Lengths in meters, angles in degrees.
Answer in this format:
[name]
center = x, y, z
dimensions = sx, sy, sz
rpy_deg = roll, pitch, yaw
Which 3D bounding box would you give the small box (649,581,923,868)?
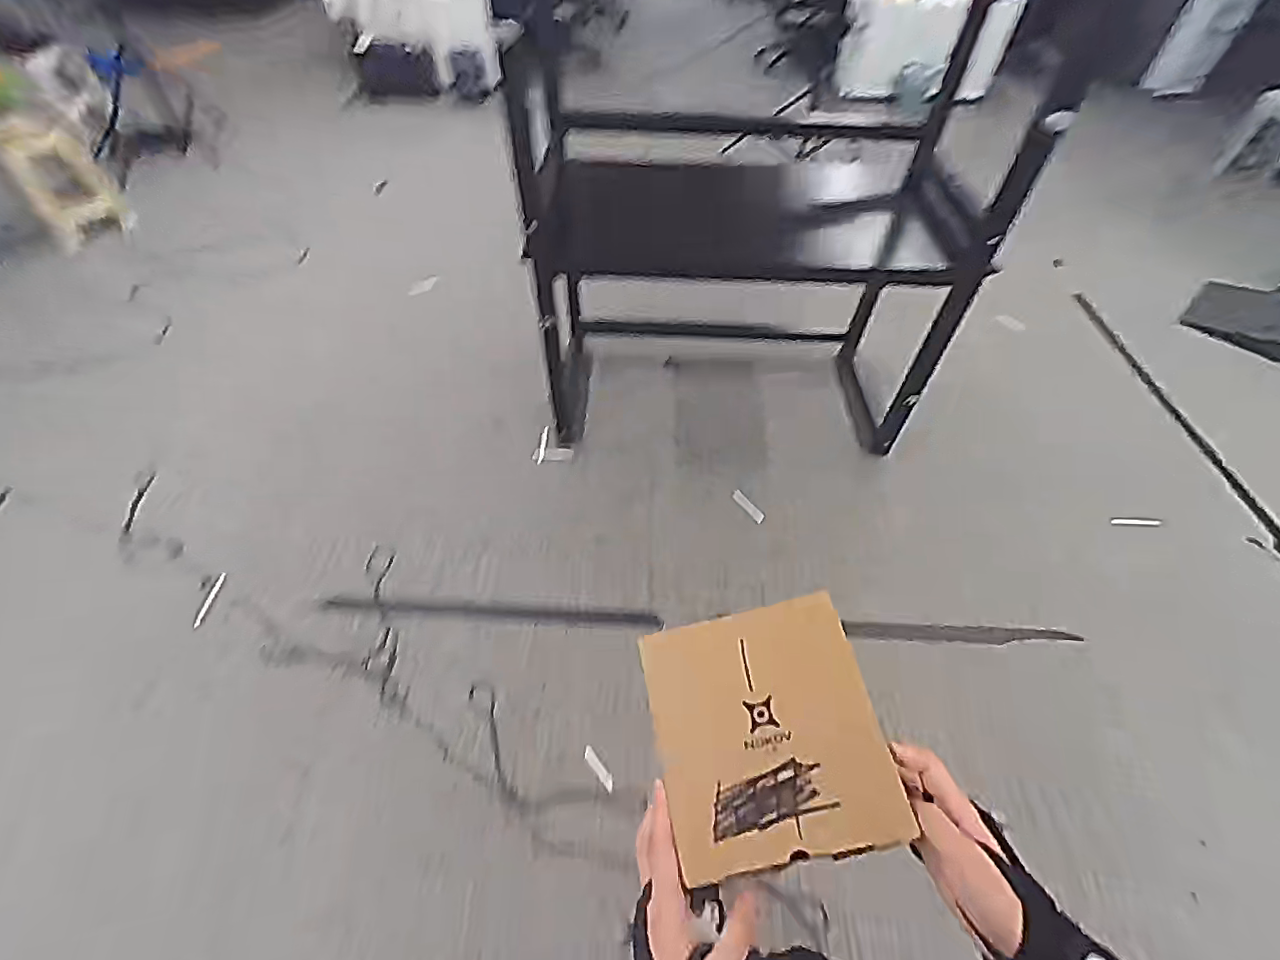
[small box]
center = 0.115, 0.211, 0.475
dimensions = 0.168, 0.176, 0.179
rpy_deg = -14, 60, 5
